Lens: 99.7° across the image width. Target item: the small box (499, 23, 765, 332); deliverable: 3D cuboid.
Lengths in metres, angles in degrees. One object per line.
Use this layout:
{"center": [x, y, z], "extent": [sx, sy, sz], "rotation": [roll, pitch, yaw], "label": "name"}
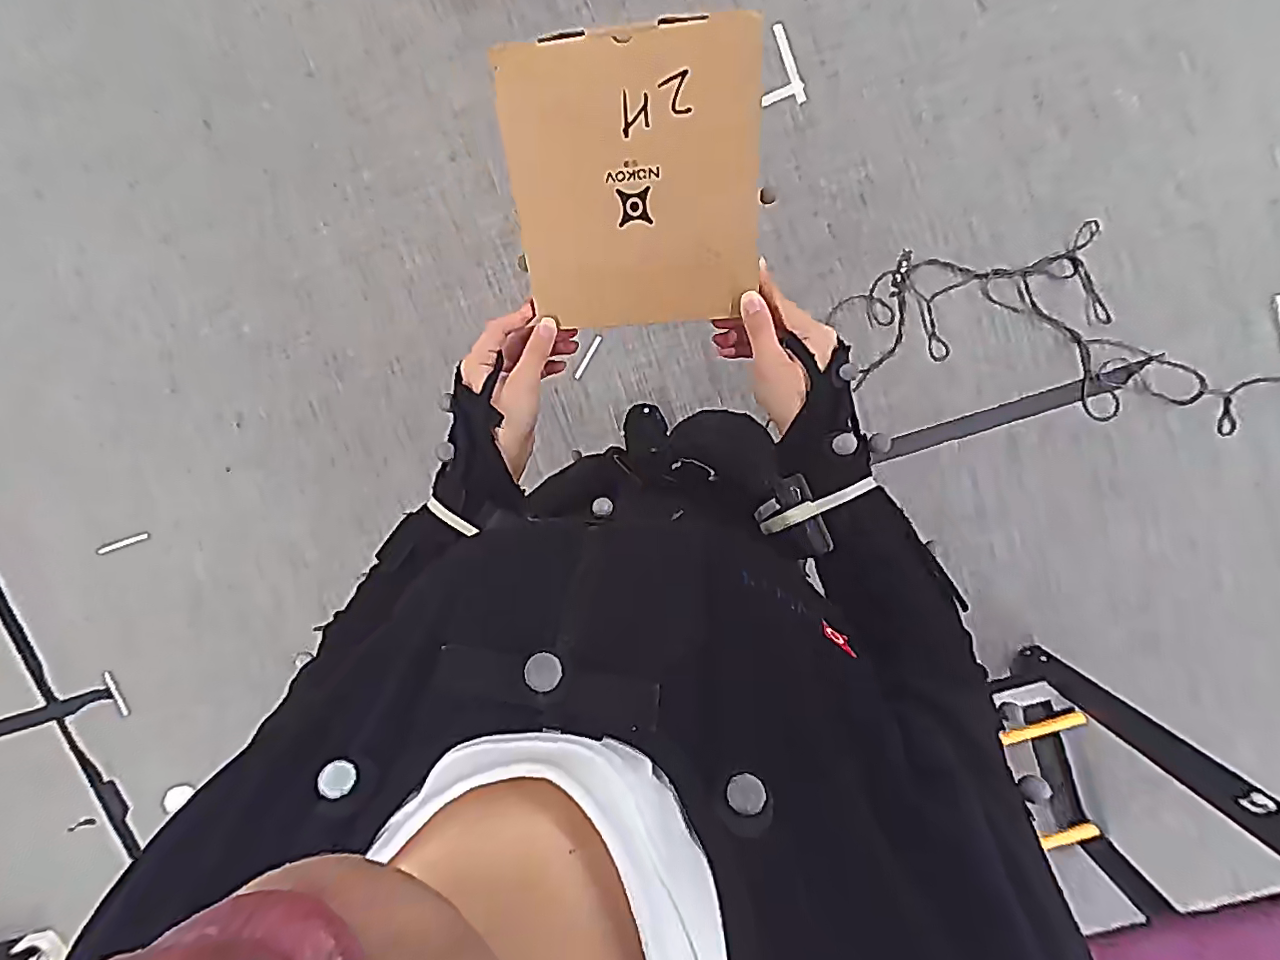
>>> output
{"center": [0.007, -0.229, 0.435], "extent": [0.168, 0.176, 0.179], "rotation": [-2, 118, 7], "label": "small box"}
